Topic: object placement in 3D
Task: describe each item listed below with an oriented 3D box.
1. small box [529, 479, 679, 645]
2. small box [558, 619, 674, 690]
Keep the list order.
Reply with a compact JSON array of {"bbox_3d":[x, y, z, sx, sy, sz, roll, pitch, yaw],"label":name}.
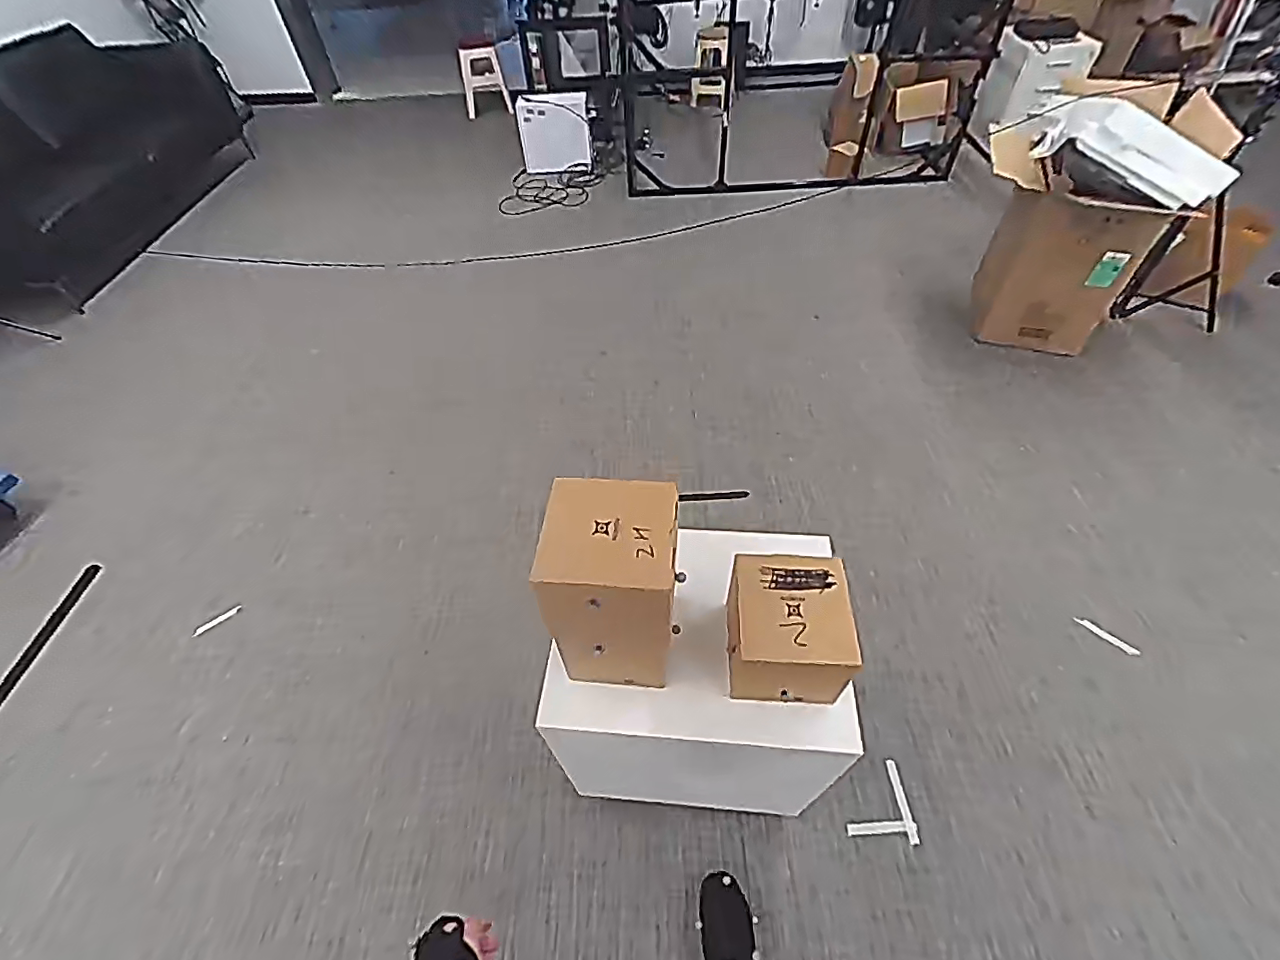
[{"bbox_3d":[-0.038,0.117,0.754,0.179,0.176,0.168,3,51,5],"label":"small box"},{"bbox_3d":[-0.029,0.220,0.883,0.168,0.176,0.179,3,49,6],"label":"small box"}]
